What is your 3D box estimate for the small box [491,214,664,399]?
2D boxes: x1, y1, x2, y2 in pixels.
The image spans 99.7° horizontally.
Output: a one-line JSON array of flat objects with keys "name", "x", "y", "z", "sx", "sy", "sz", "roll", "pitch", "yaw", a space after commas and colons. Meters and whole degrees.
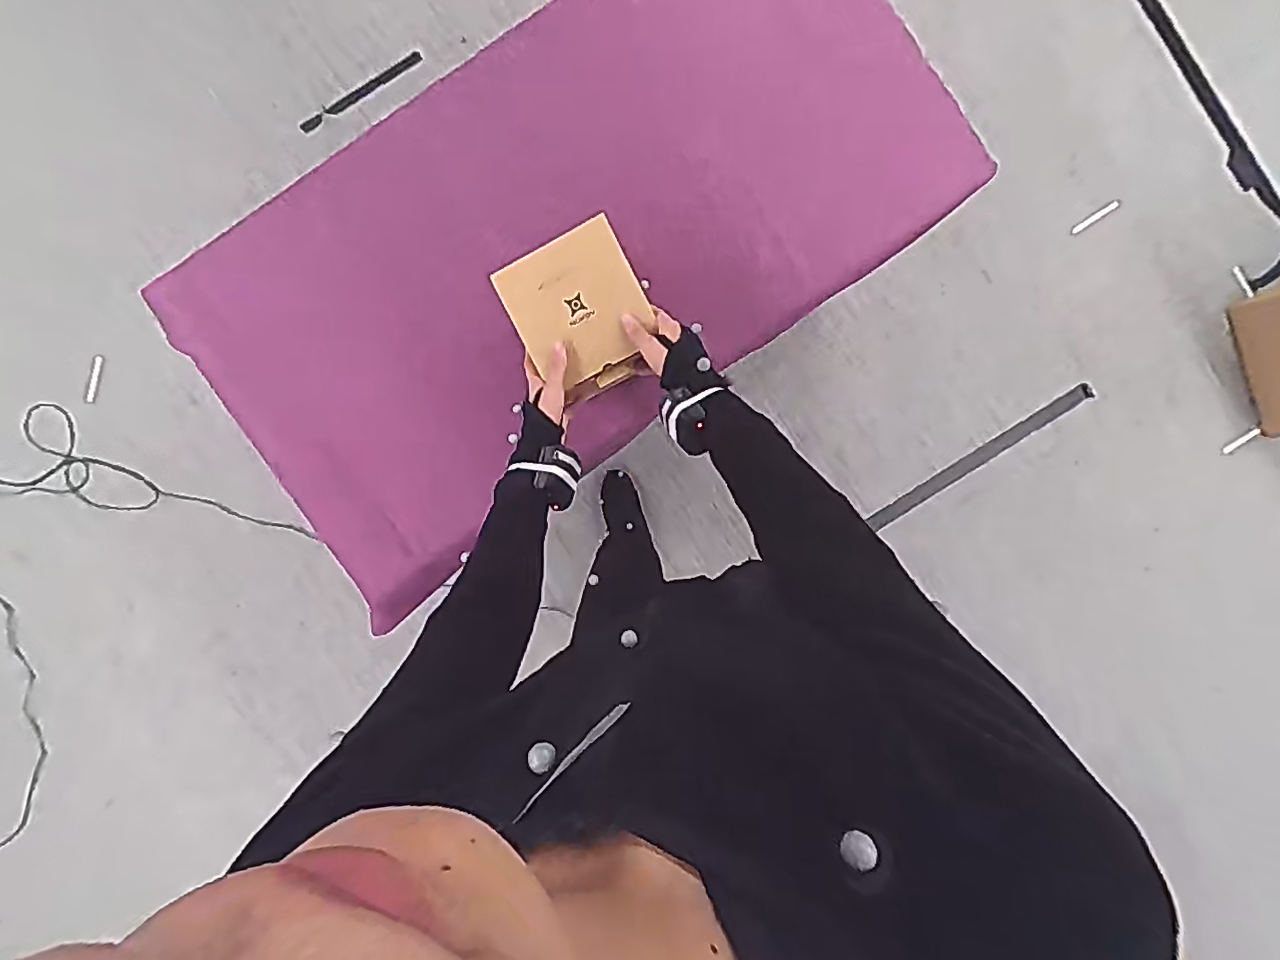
[{"name": "small box", "x": -0.072, "y": -0.224, "z": 0.752, "sx": 0.168, "sy": 0.176, "sz": 0.179, "roll": -27, "pitch": 93, "yaw": 5}]
